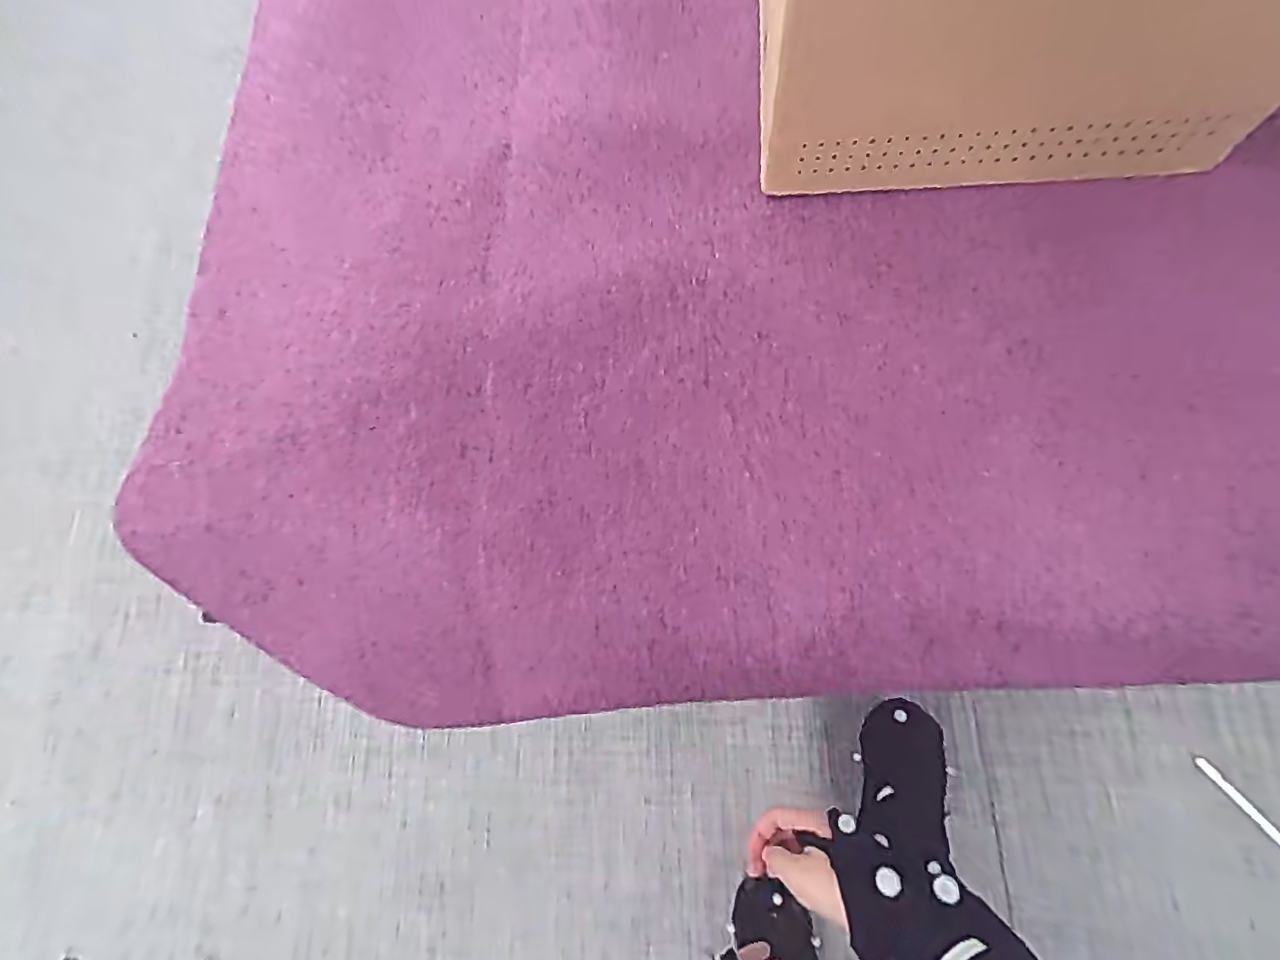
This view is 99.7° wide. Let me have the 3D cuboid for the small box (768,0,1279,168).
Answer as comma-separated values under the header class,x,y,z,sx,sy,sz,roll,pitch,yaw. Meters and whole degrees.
class,x,y,z,sx,sy,sz,roll,pitch,yaw
small box,0.137,-0.230,0.173,0.179,0.176,0.168,2,75,6
